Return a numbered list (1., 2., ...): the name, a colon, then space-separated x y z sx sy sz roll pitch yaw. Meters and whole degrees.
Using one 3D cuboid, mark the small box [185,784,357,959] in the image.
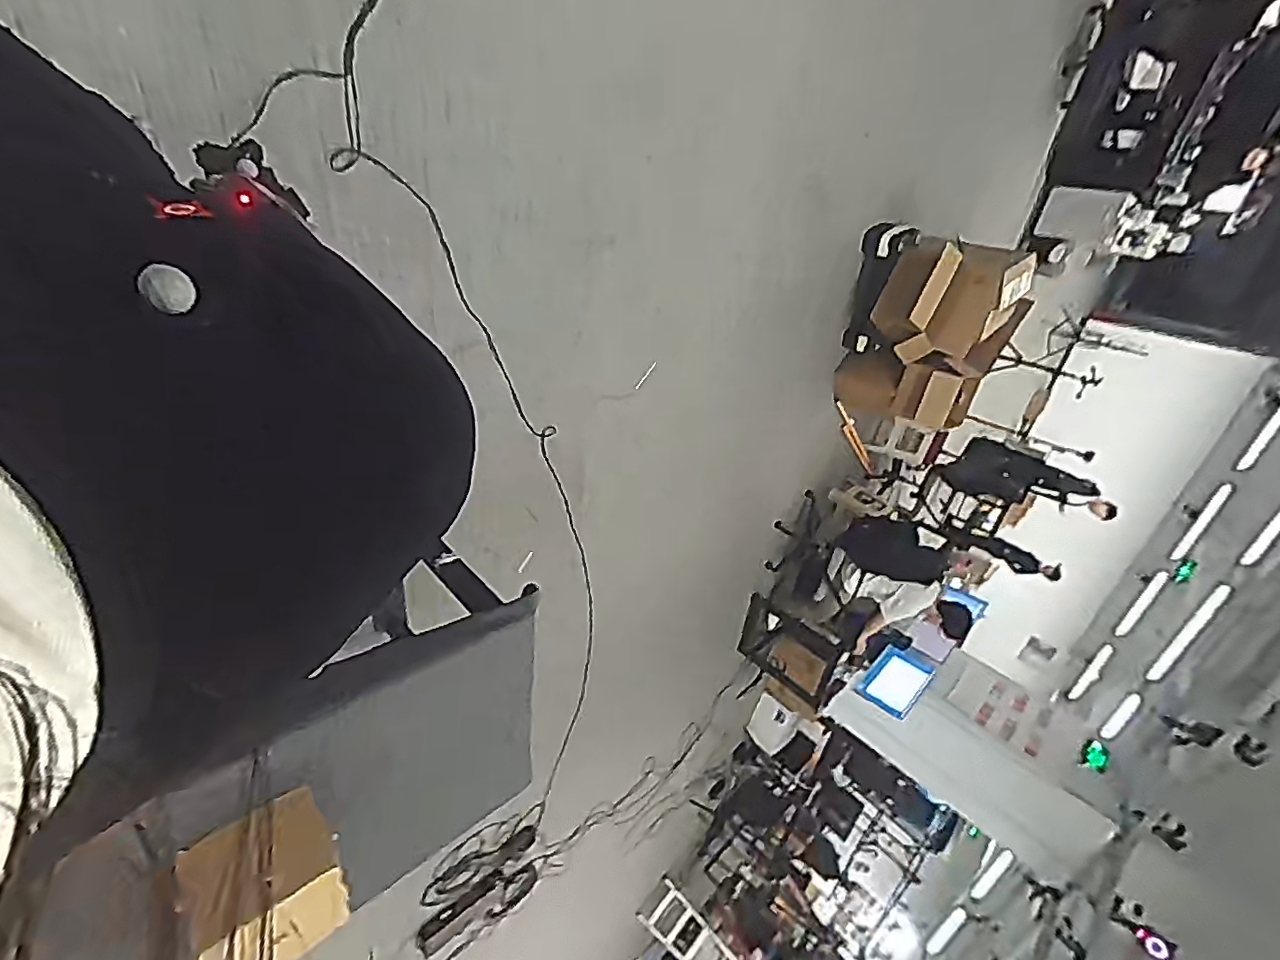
1. small box: -0.580 0.633 0.858 0.179 0.176 0.168 -19 128 -40
